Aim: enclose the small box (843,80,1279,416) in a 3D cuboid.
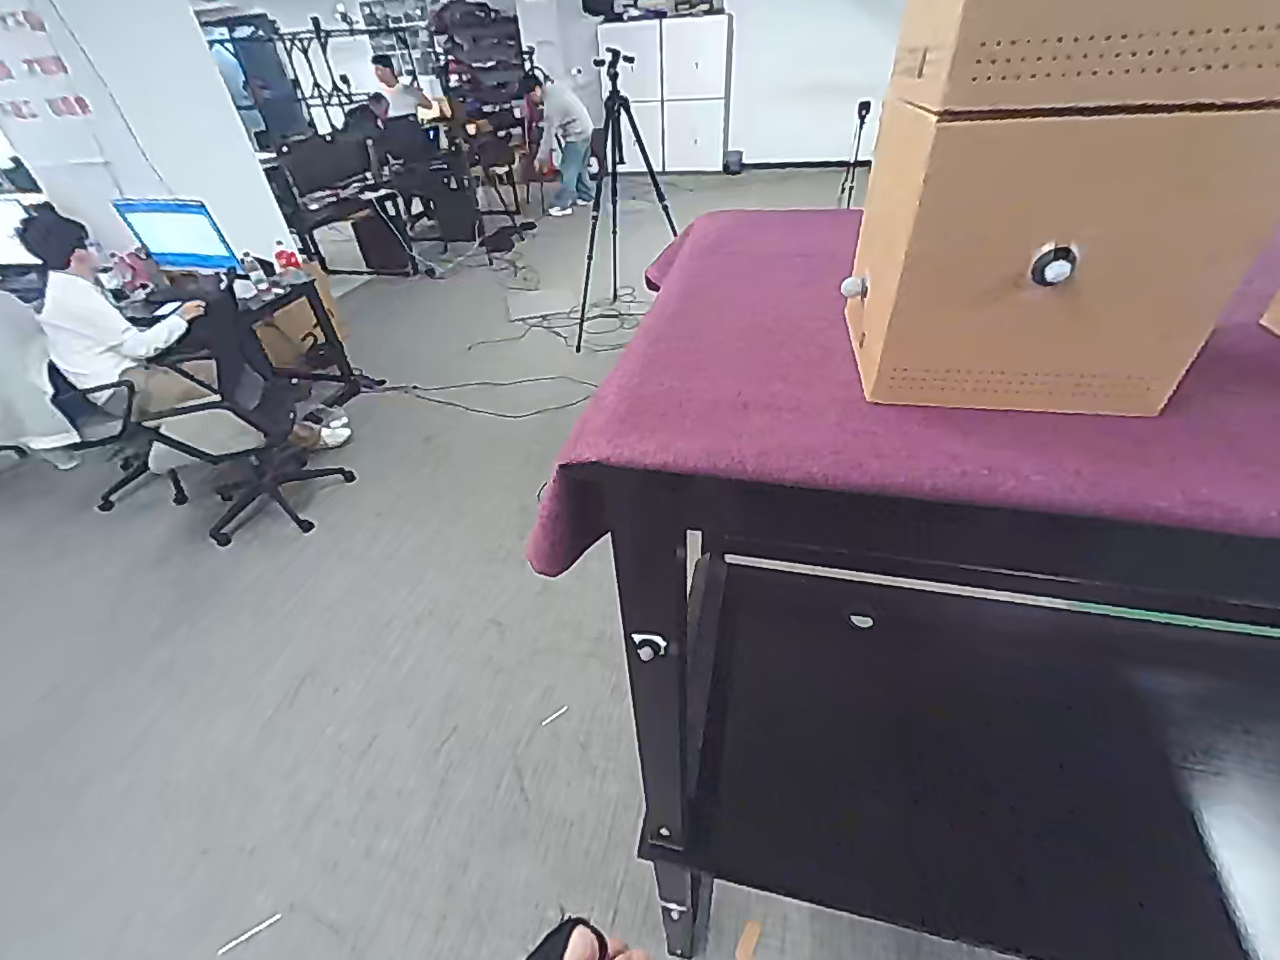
[{"bbox_3d":[0.248,-0.156,0.366,0.179,0.176,0.168,4,39,12],"label":"small box"}]
